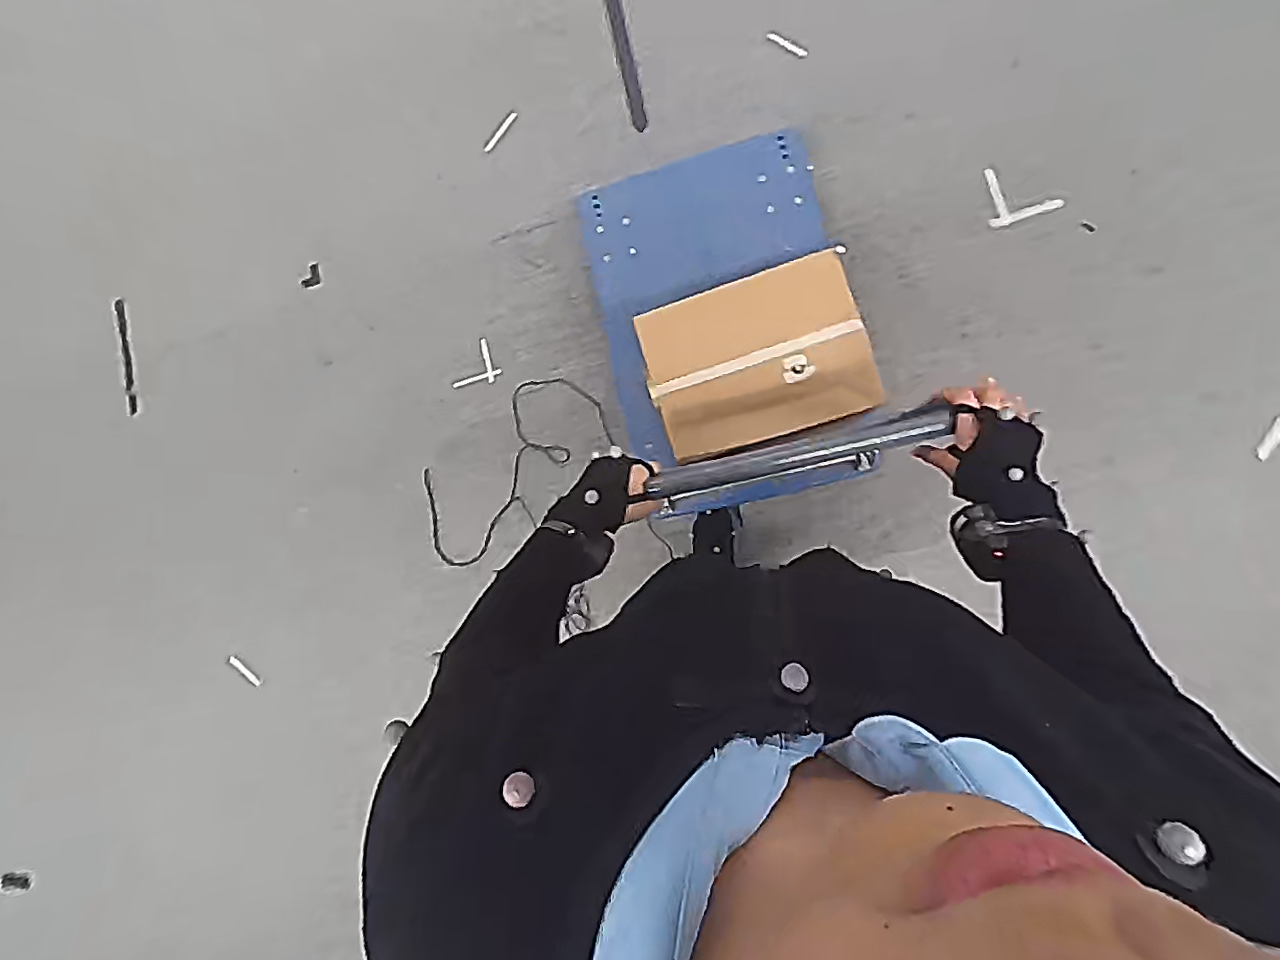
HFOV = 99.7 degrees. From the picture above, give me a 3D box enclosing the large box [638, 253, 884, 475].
[{"bbox_3d":[0.244,-0.222,1.184,0.408,0.320,0.320,-17,86,7],"label":"large box"}]
